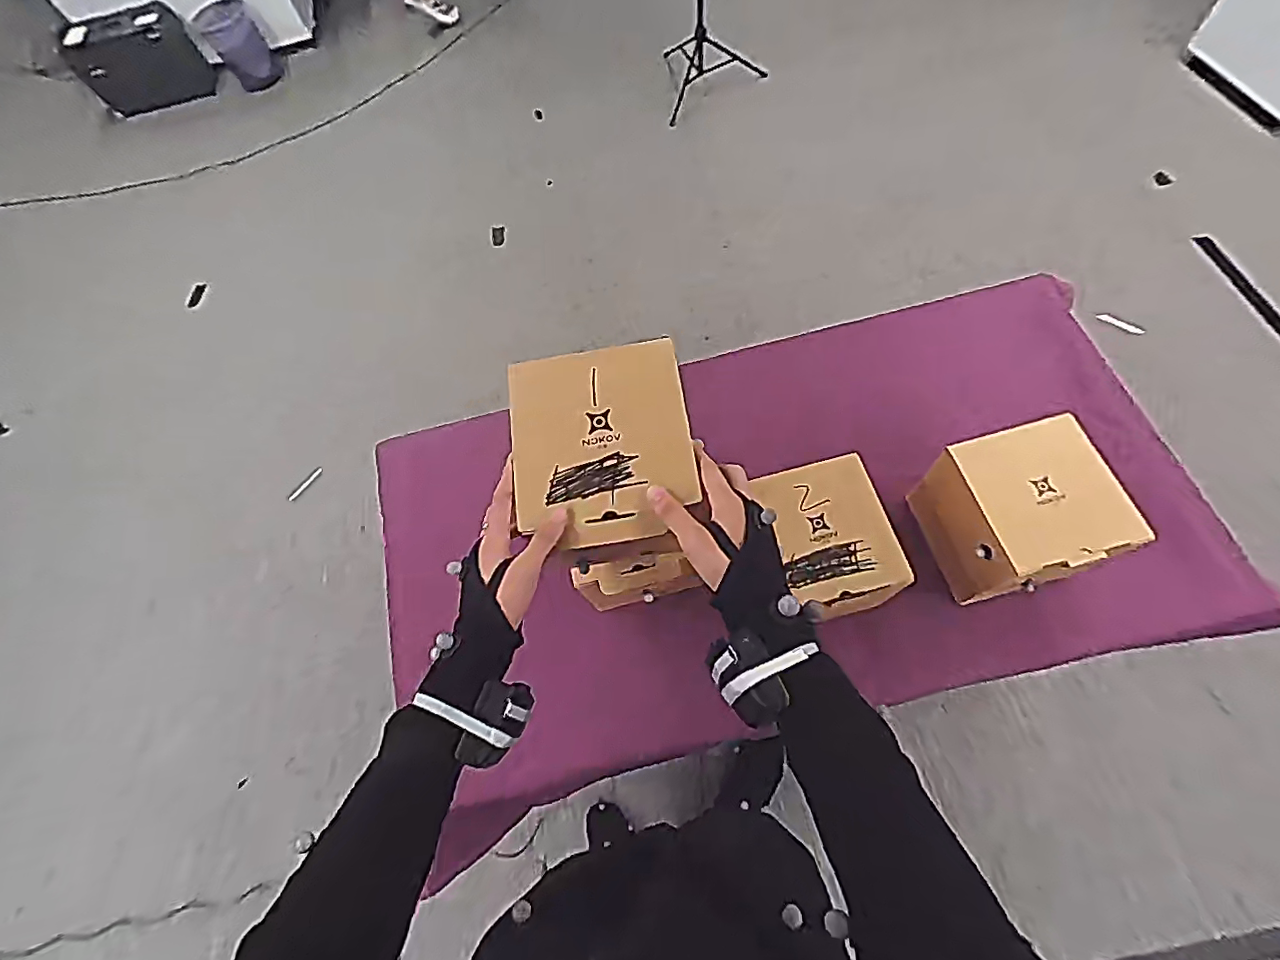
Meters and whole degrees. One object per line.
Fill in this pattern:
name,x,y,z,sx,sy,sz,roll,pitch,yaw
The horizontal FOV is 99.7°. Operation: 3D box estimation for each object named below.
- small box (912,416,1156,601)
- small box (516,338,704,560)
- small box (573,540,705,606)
small box,0.498,0.045,0.722,0.168,0.176,0.179,-15,66,0
small box,-0.025,-0.019,0.574,0.168,0.176,0.179,-9,68,2
small box,-0.008,0.066,0.775,0.168,0.176,0.179,-14,66,2
